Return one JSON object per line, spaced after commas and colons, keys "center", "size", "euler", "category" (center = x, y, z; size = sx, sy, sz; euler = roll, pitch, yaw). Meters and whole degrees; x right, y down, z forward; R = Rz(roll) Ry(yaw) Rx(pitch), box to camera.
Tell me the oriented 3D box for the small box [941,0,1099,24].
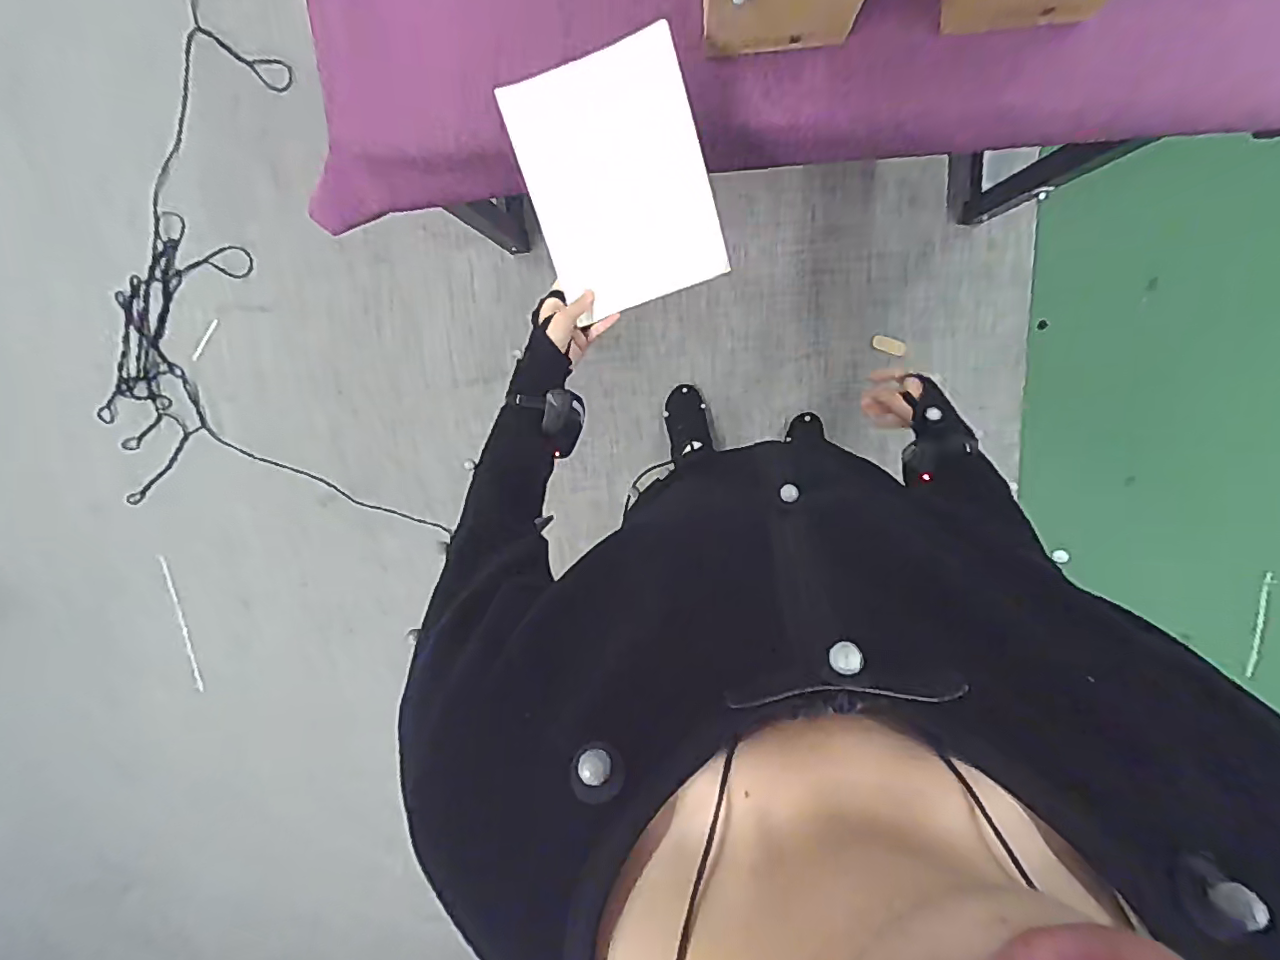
{"center": [0.422, -0.595, 0.536], "size": [0.168, 0.176, 0.179], "euler": [-2, 100, 4], "category": "small box"}
